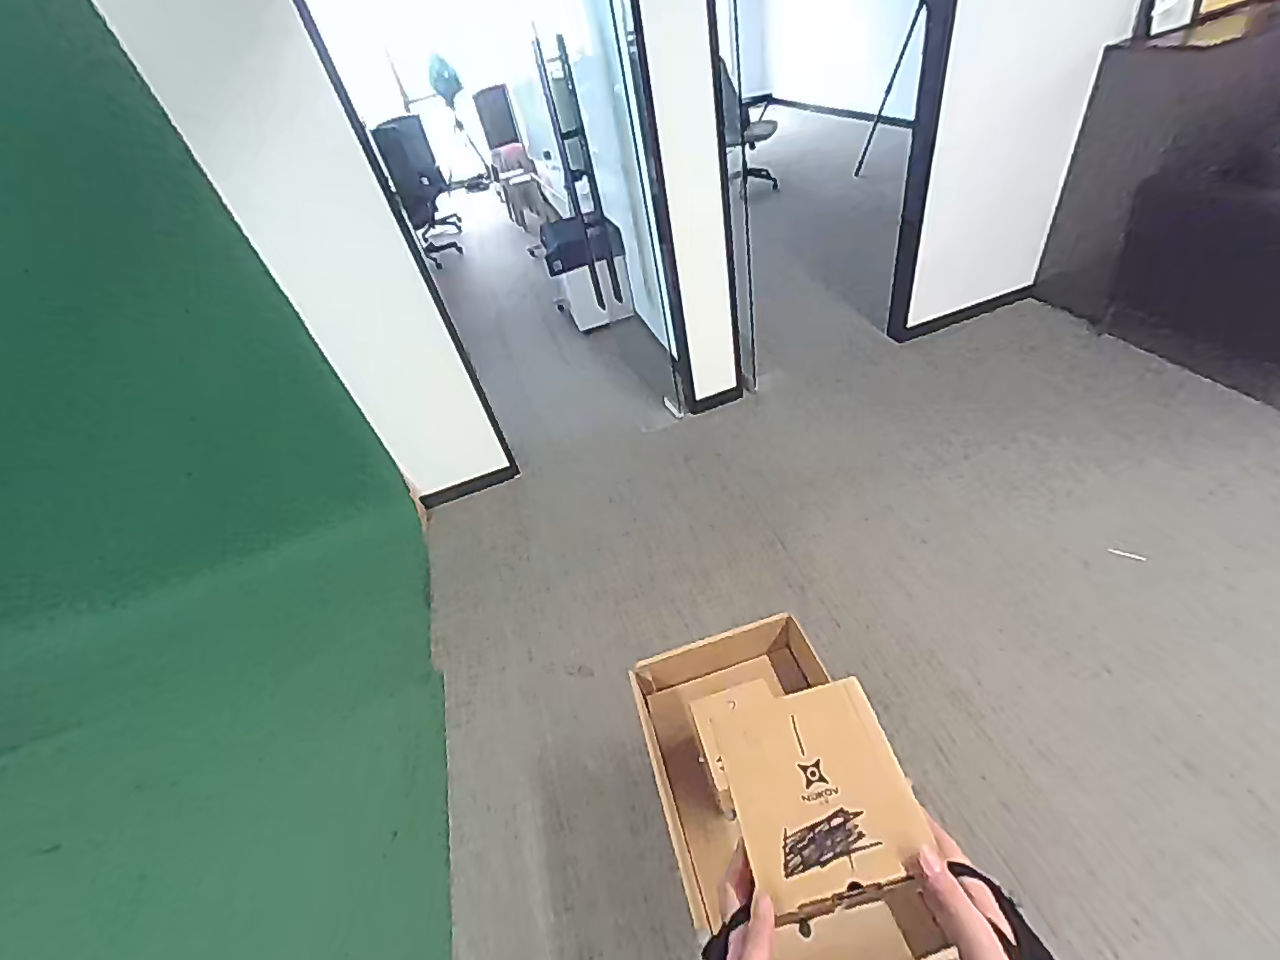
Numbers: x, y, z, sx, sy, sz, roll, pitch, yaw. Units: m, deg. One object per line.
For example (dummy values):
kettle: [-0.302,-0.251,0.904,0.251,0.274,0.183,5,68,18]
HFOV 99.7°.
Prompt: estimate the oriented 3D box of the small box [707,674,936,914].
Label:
small box: [0.183,0.342,0.582,0.168,0.176,0.179,-17,46,2]
